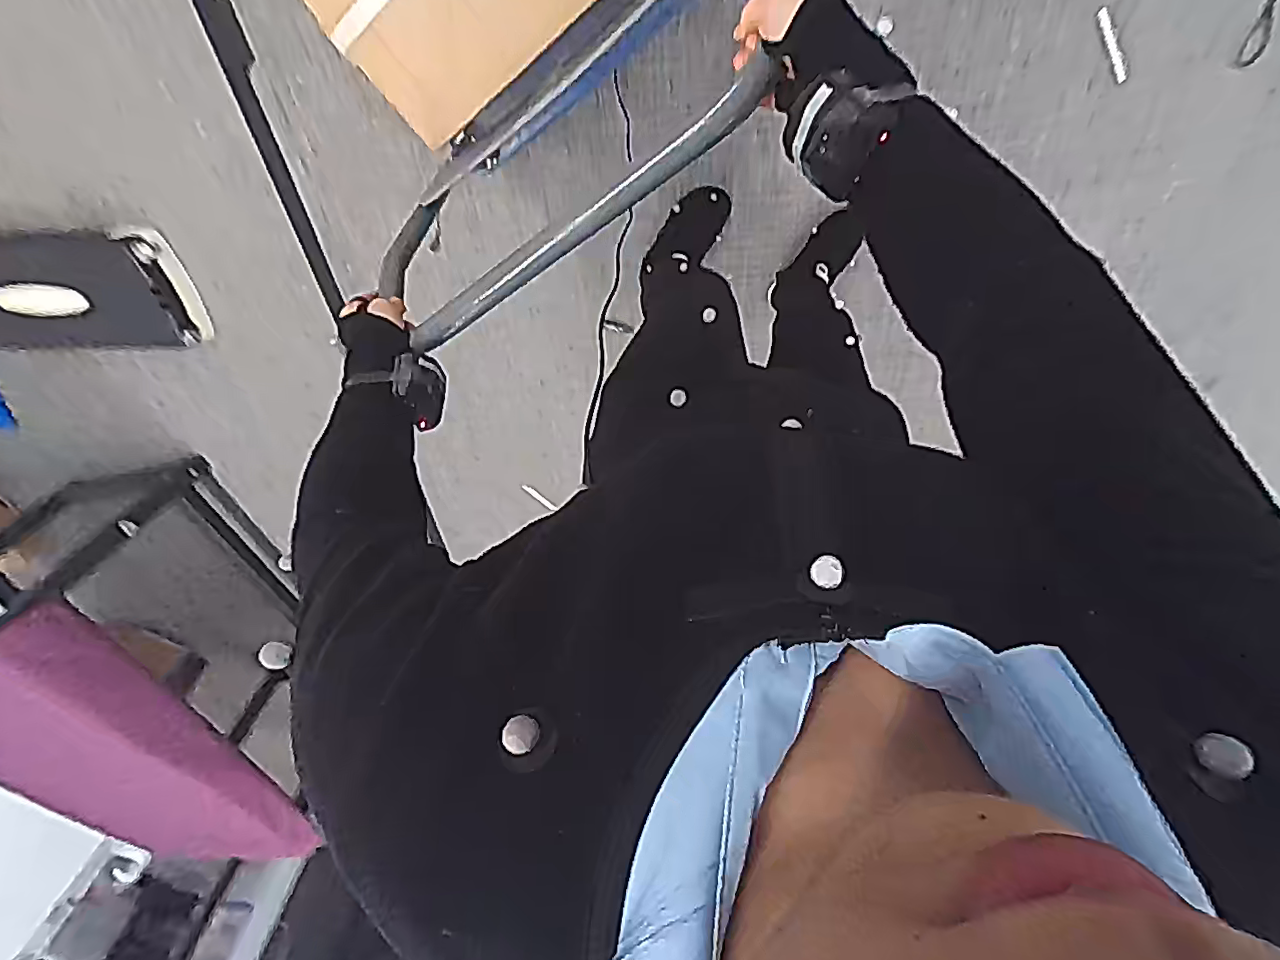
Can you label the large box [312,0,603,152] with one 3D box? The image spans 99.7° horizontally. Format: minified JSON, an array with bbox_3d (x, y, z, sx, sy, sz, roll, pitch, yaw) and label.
[{"bbox_3d":[-0.212,-0.744,0.722,0.408,0.320,0.320,-27,129,24],"label":"large box"}]
